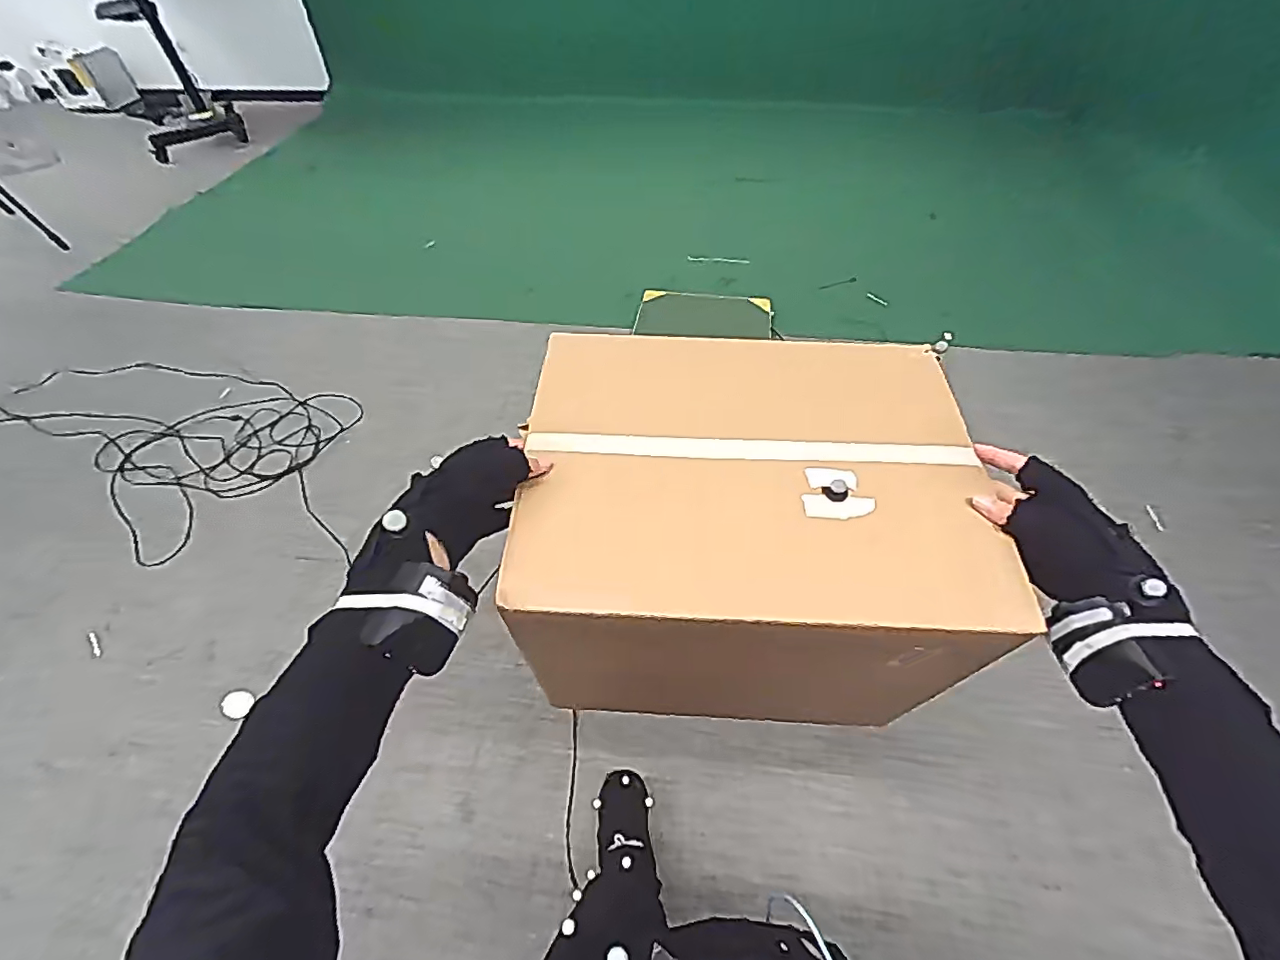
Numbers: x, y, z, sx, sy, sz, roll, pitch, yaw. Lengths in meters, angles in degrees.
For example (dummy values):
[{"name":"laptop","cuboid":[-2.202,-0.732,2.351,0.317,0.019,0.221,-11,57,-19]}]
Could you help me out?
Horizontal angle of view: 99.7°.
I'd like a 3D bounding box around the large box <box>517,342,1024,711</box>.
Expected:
[{"name":"large box","cuboid":[0.100,0.065,0.622,0.408,0.320,0.320,3,55,0]}]
